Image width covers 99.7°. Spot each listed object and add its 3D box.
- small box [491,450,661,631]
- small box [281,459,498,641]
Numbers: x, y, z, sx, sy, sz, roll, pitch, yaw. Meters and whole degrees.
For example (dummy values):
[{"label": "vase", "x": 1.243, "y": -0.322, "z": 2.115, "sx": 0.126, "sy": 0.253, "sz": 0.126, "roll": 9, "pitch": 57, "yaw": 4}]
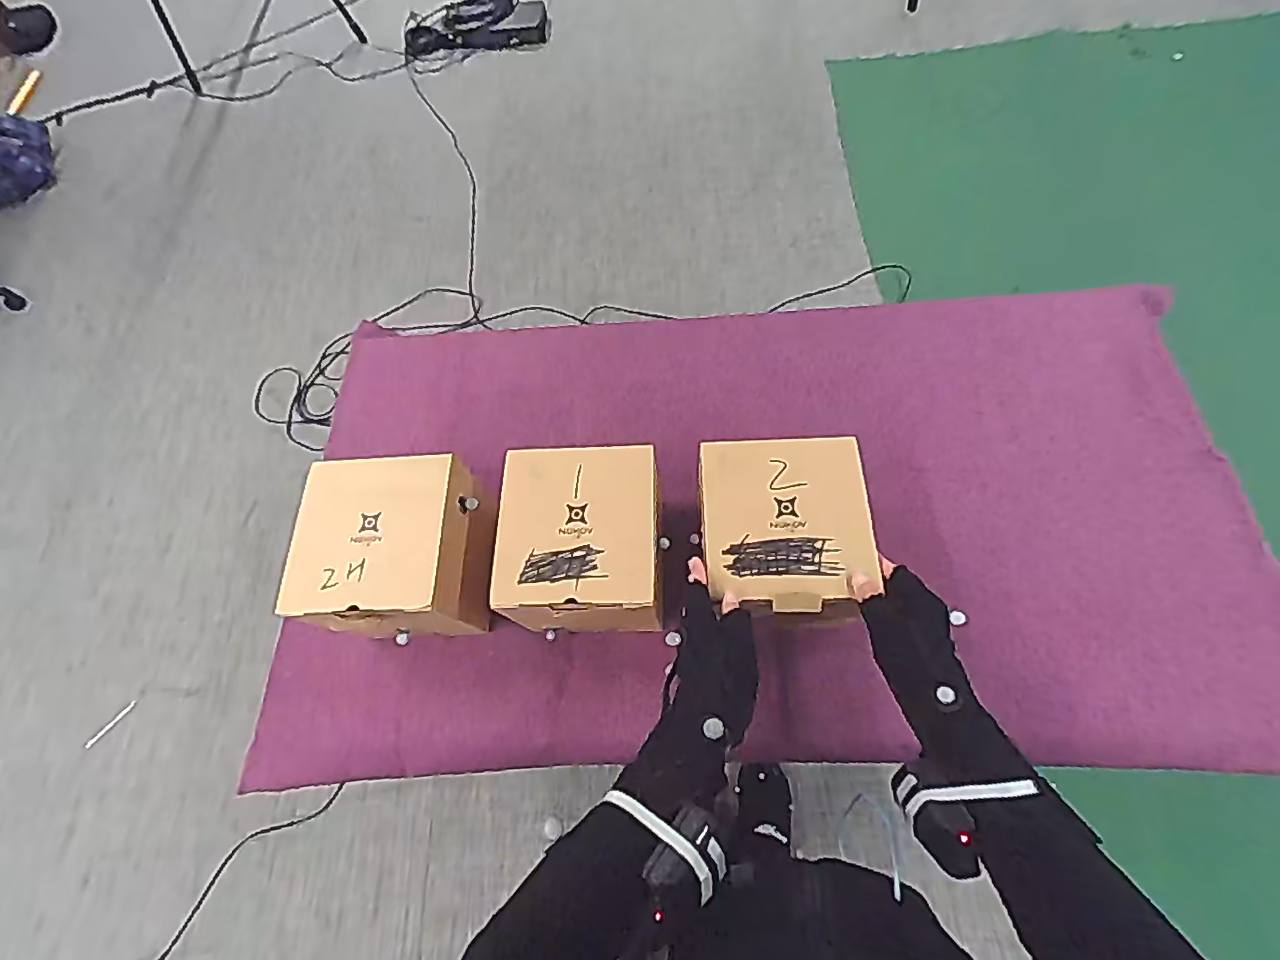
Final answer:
[{"label": "small box", "x": -0.061, "y": 0.081, "z": 0.638, "sx": 0.168, "sy": 0.176, "sz": 0.179, "roll": -2, "pitch": 65, "yaw": 4}, {"label": "small box", "x": -0.281, "y": 0.091, "z": 0.653, "sx": 0.168, "sy": 0.176, "sz": 0.179, "roll": -3, "pitch": 66, "yaw": 5}]
